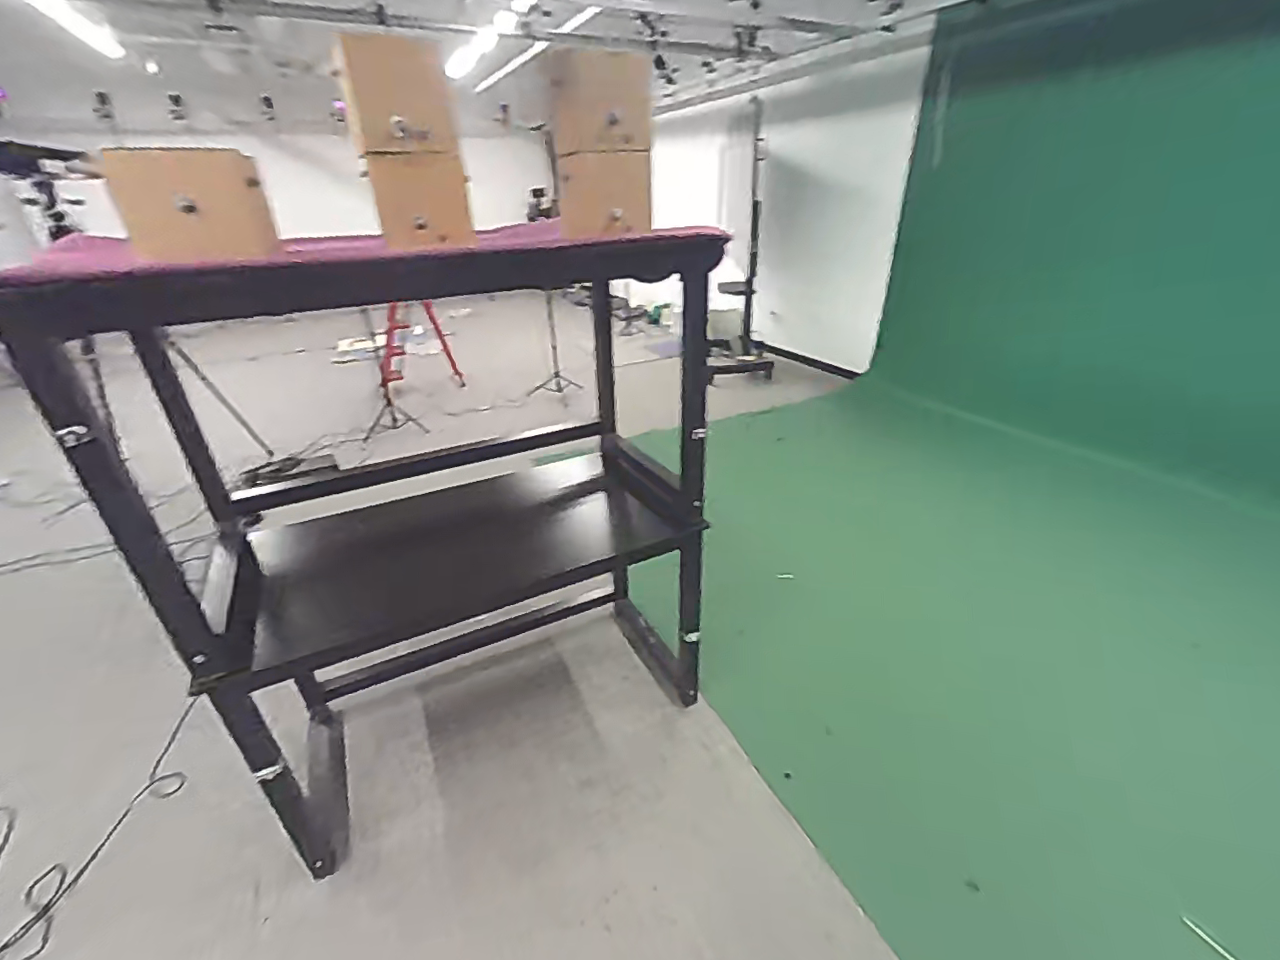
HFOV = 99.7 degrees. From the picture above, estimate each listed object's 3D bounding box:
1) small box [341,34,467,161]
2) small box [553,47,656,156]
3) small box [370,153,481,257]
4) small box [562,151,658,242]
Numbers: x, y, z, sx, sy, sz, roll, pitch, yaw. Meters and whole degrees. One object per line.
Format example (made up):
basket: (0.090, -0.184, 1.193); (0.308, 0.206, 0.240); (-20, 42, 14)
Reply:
small box: (-0.425, -0.674, 0.975); (0.168, 0.176, 0.179); (-17, 32, -23)
small box: (-0.075, -0.770, 1.121); (0.168, 0.176, 0.179); (-14, 30, -18)
small box: (-0.416, -0.533, 1.055); (0.168, 0.176, 0.179); (-13, 29, -19)
small box: (-0.068, -0.624, 1.197); (0.168, 0.176, 0.179); (-13, 31, -18)
